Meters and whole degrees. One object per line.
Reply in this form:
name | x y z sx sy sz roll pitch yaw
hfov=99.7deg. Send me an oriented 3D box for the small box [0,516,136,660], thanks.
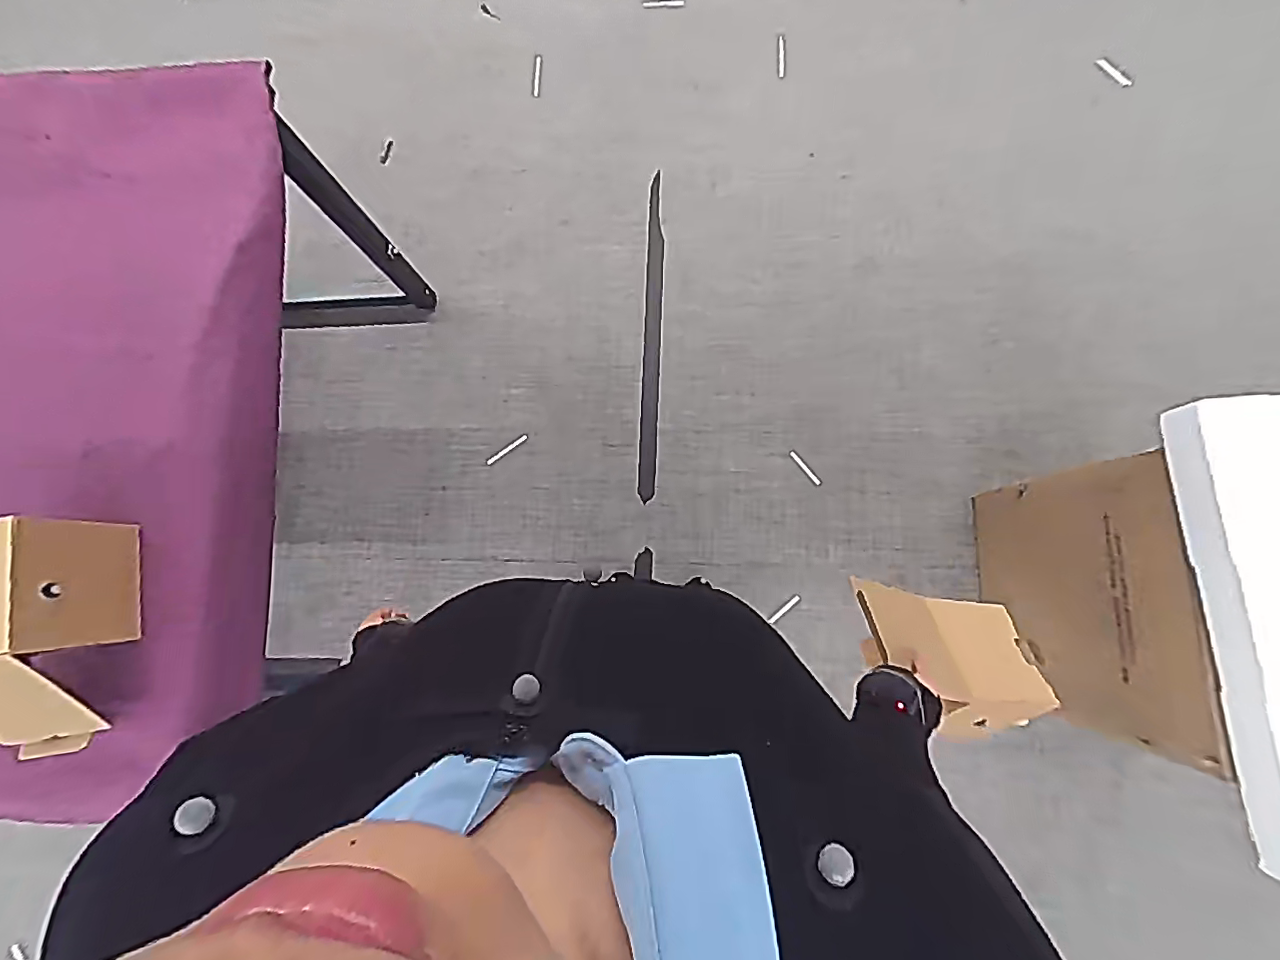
small box | -0.850 0.154 0.745 0.168 0.176 0.179 -10 80 1
